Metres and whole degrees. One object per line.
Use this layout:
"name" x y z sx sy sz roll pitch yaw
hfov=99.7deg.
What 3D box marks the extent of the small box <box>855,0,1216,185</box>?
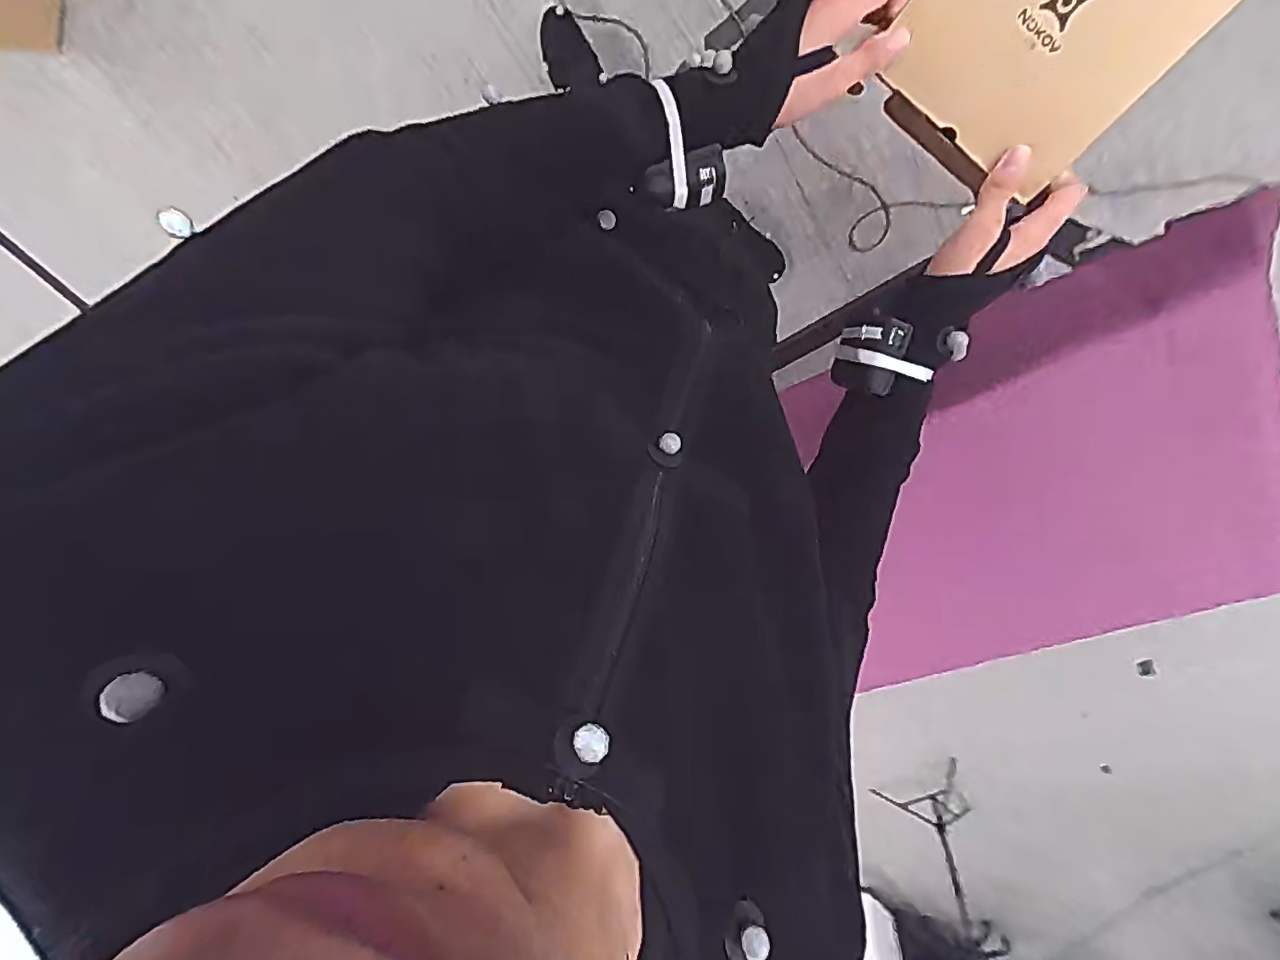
"small box" 0.288 -0.369 0.405 0.168 0.176 0.179 33 134 -11
